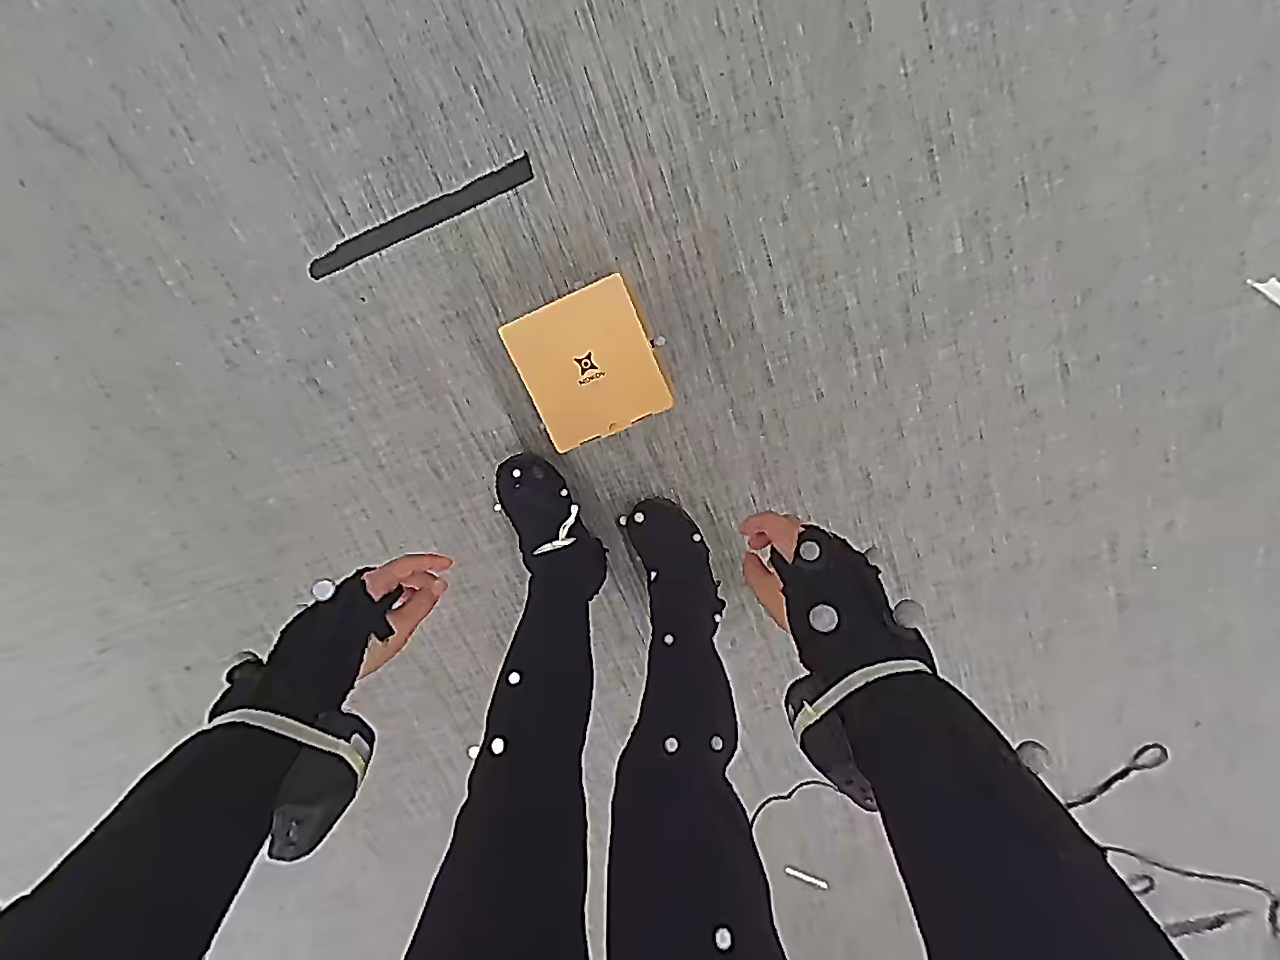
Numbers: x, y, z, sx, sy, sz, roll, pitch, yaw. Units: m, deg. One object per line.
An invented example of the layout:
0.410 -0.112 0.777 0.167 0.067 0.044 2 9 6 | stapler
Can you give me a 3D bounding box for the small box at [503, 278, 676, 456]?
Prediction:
-0.061 -0.159 0.744 0.168 0.176 0.179 -22 108 9 | small box
